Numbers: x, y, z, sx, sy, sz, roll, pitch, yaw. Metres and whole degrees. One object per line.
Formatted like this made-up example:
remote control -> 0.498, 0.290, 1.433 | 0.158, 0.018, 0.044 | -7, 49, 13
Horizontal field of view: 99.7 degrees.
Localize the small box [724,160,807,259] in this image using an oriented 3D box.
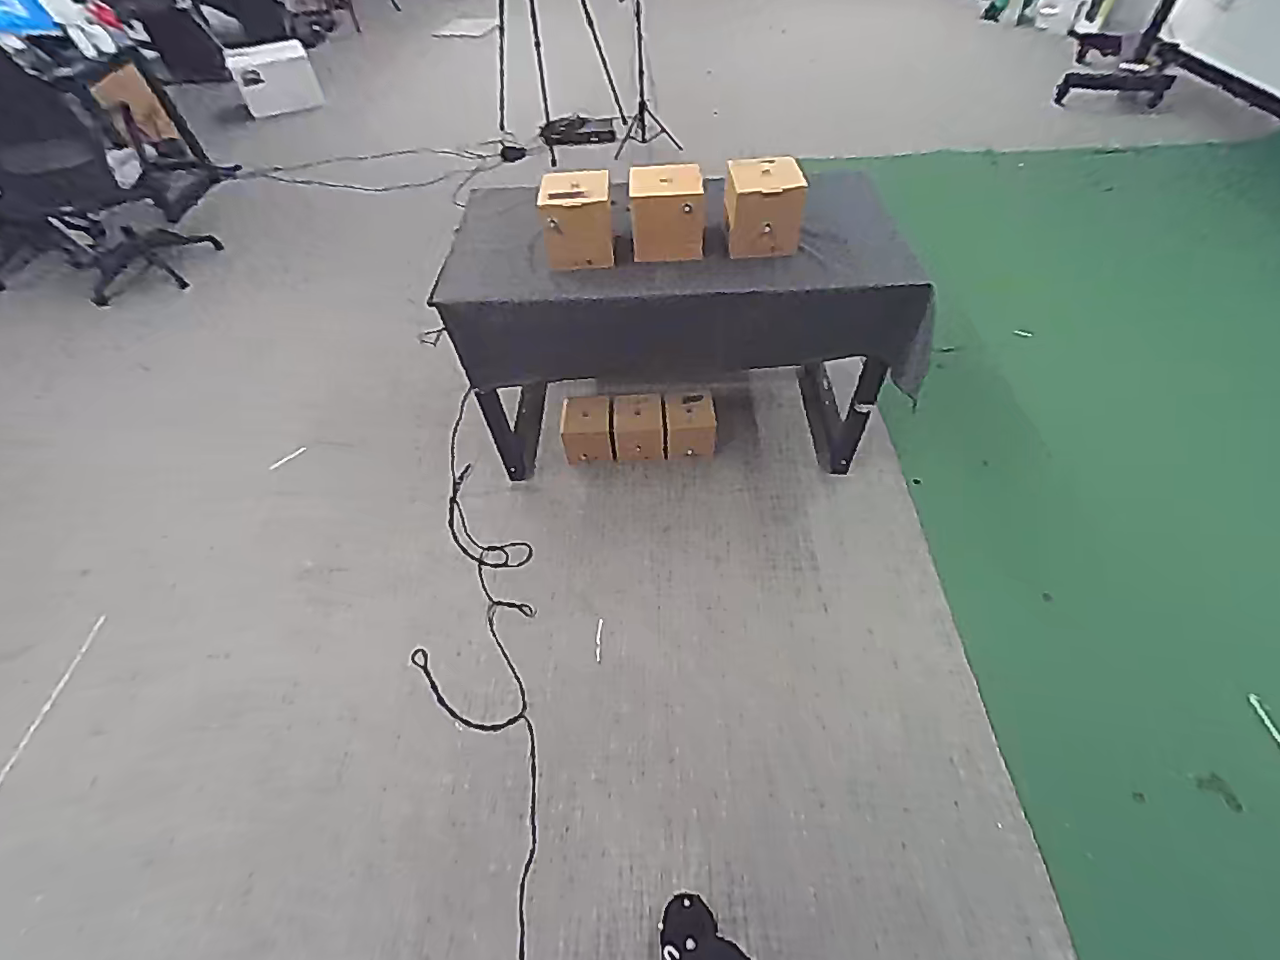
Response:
small box -> 0.307, -0.672, 1.356 | 0.168, 0.176, 0.179 | -3, 52, 1
